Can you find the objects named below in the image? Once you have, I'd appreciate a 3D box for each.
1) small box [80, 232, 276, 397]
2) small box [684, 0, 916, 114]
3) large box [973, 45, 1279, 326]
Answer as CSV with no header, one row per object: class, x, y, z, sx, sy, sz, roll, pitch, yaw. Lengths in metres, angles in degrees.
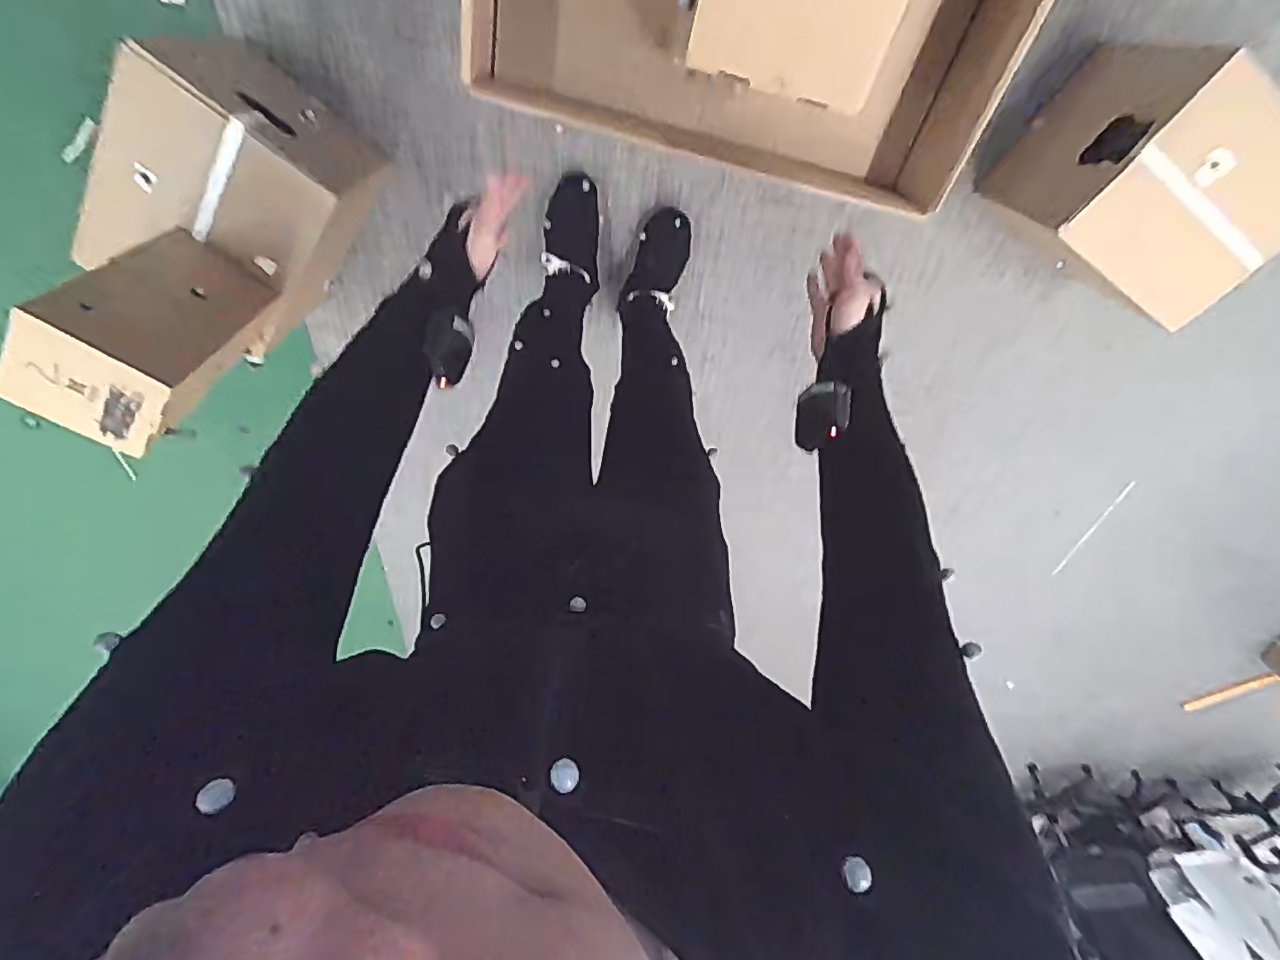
small box,-0.765,-0.282,0.914,0.168,0.176,0.179,-39,122,25
small box,0.142,-0.456,0.476,0.168,0.176,0.179,10,129,-10
large box,0.991,-0.582,1.084,0.408,0.320,0.320,23,125,-19
